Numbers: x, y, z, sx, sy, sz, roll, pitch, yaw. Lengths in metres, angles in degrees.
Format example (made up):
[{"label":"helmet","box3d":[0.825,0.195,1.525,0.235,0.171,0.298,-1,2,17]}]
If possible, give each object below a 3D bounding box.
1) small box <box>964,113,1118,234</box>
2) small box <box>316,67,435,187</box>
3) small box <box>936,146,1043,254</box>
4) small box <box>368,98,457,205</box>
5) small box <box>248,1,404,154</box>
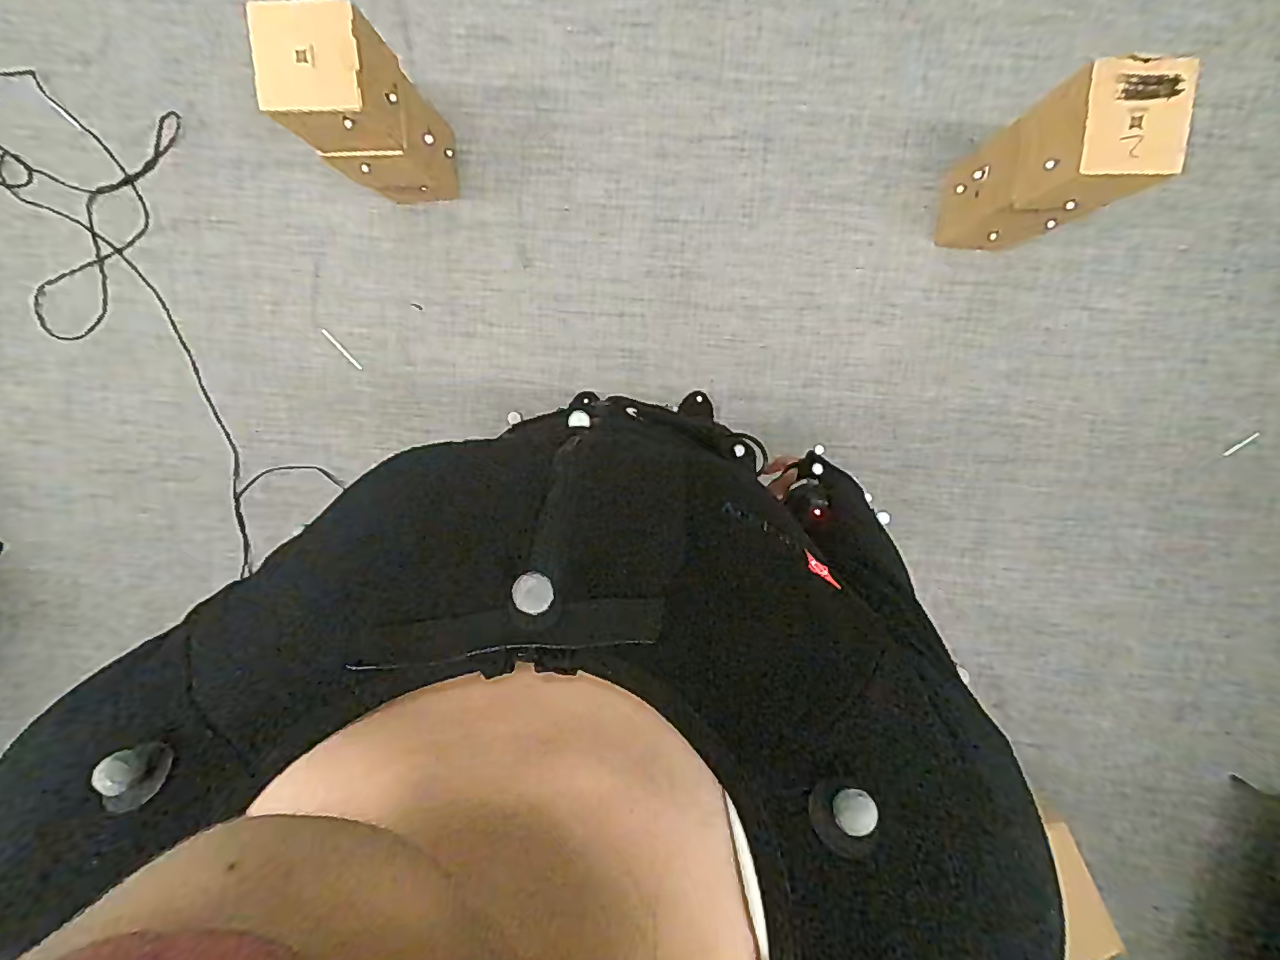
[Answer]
[{"label":"small box","box3d":[0.813,-0.618,1.113,0.179,0.176,0.168,5,98,2]},{"label":"small box","box3d":[-0.551,-0.730,1.132,0.179,0.176,0.168,0,100,1]},{"label":"small box","box3d":[0.828,-0.650,1.272,0.168,0.176,0.179,5,99,1]},{"label":"small box","box3d":[-0.549,-0.775,1.290,0.179,0.176,0.168,-3,99,3]},{"label":"small box","box3d":[-0.551,-0.708,0.970,0.179,0.176,0.168,-1,100,1]}]
